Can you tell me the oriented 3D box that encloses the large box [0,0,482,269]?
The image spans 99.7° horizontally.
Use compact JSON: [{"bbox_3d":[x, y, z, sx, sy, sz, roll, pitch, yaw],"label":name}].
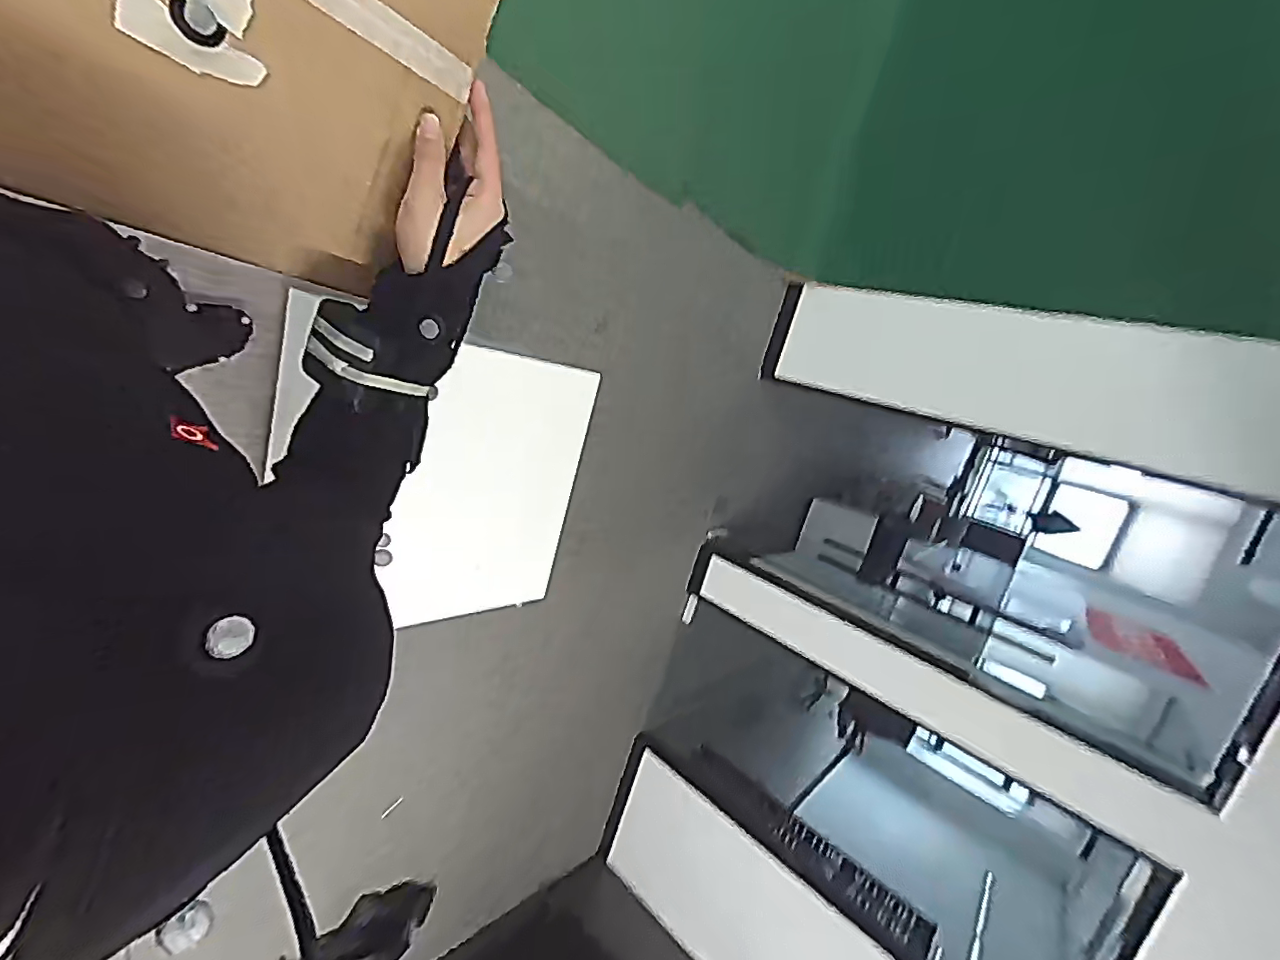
[{"bbox_3d":[-0.337,-0.368,0.278,0.408,0.320,0.320,2,125,-52],"label":"large box"}]
